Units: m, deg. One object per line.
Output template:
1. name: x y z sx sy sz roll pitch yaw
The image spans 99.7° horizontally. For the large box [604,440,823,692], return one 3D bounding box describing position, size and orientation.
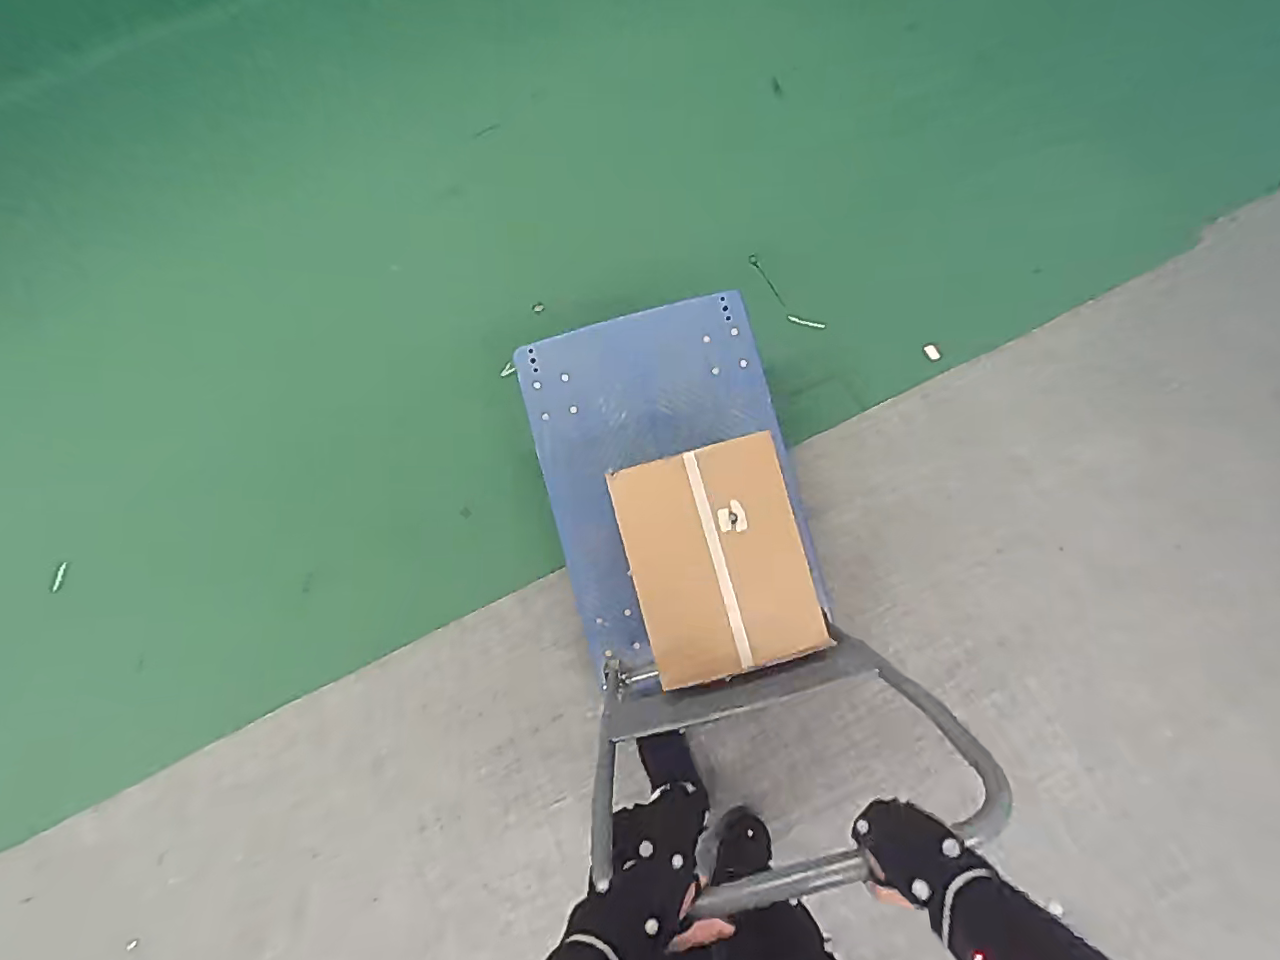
1. large box: 0.136 0.164 1.134 0.320 0.320 0.408 -15 86 -1
